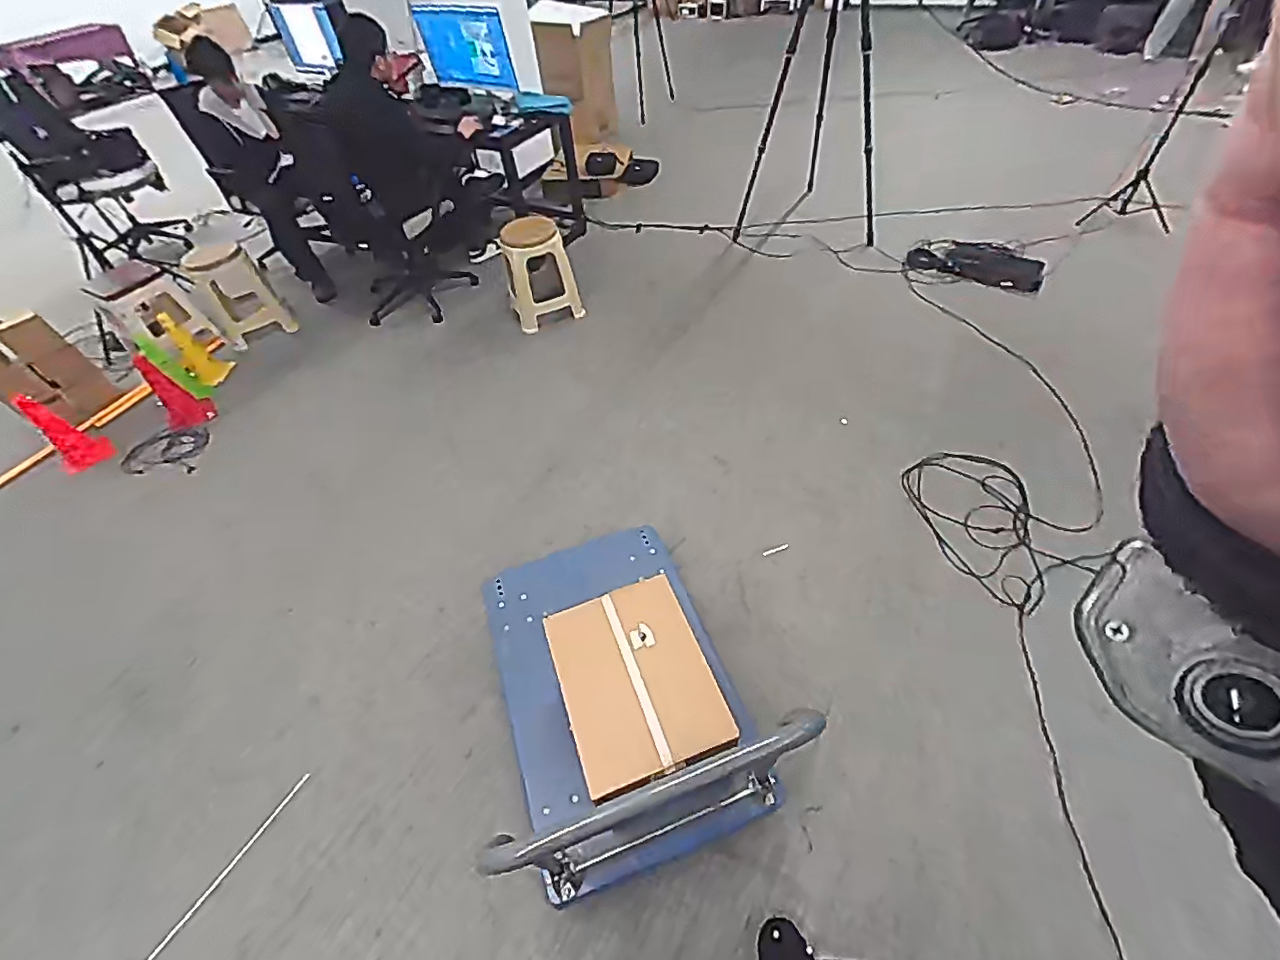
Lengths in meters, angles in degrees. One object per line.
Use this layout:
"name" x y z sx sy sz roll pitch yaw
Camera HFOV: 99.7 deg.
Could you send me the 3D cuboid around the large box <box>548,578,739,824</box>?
"large box" 0.006 0.521 1.294 0.320 0.320 0.408 -18 49 -10
